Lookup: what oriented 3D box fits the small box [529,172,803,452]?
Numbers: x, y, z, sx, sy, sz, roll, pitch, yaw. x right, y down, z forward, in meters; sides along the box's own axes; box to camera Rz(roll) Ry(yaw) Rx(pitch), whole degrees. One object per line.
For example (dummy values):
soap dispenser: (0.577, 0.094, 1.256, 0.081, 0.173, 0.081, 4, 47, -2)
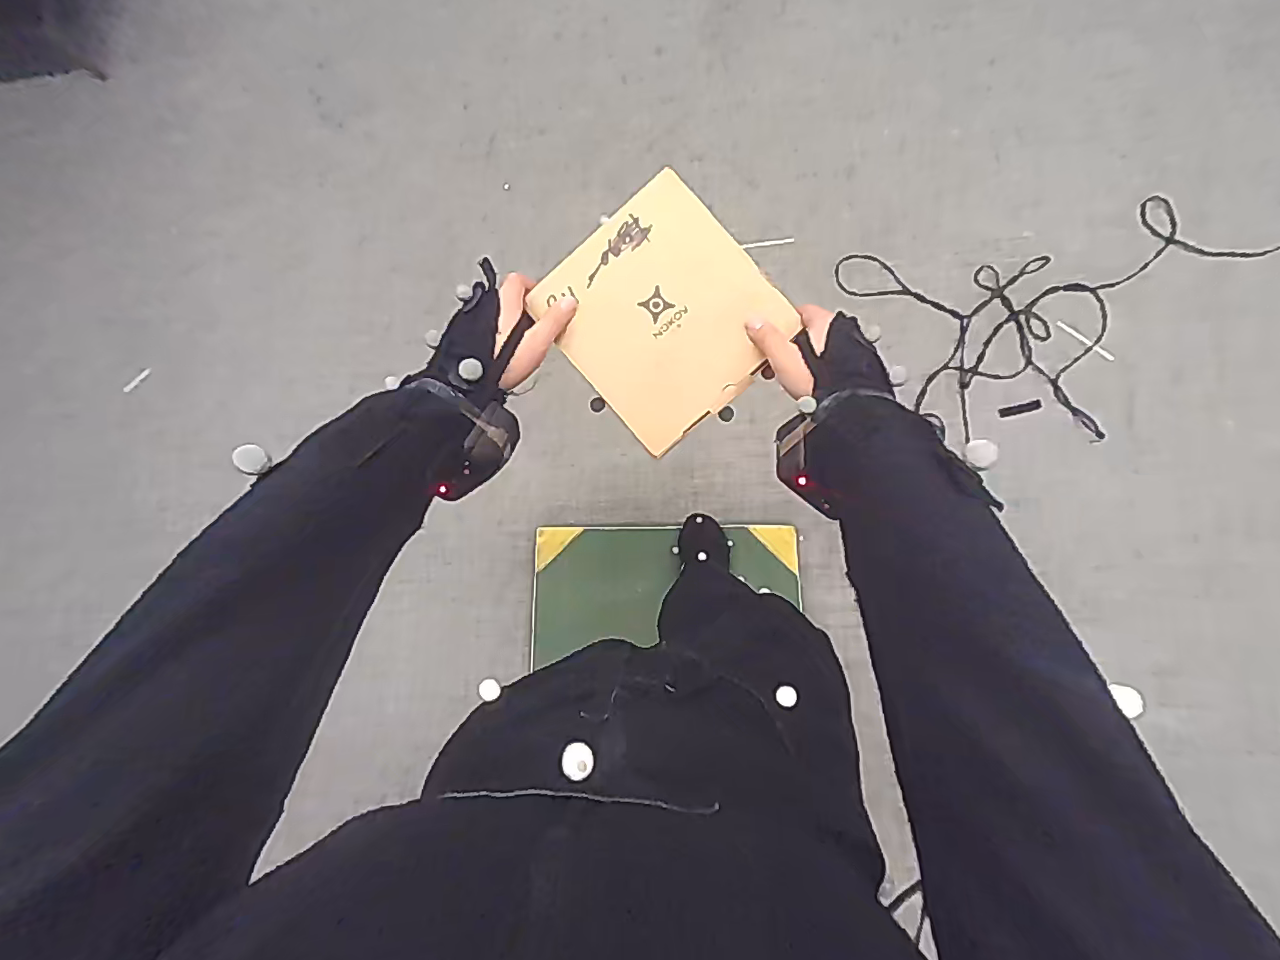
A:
small box: (0.025, -0.145, 0.533, 0.168, 0.176, 0.179, -41, 90, 3)
